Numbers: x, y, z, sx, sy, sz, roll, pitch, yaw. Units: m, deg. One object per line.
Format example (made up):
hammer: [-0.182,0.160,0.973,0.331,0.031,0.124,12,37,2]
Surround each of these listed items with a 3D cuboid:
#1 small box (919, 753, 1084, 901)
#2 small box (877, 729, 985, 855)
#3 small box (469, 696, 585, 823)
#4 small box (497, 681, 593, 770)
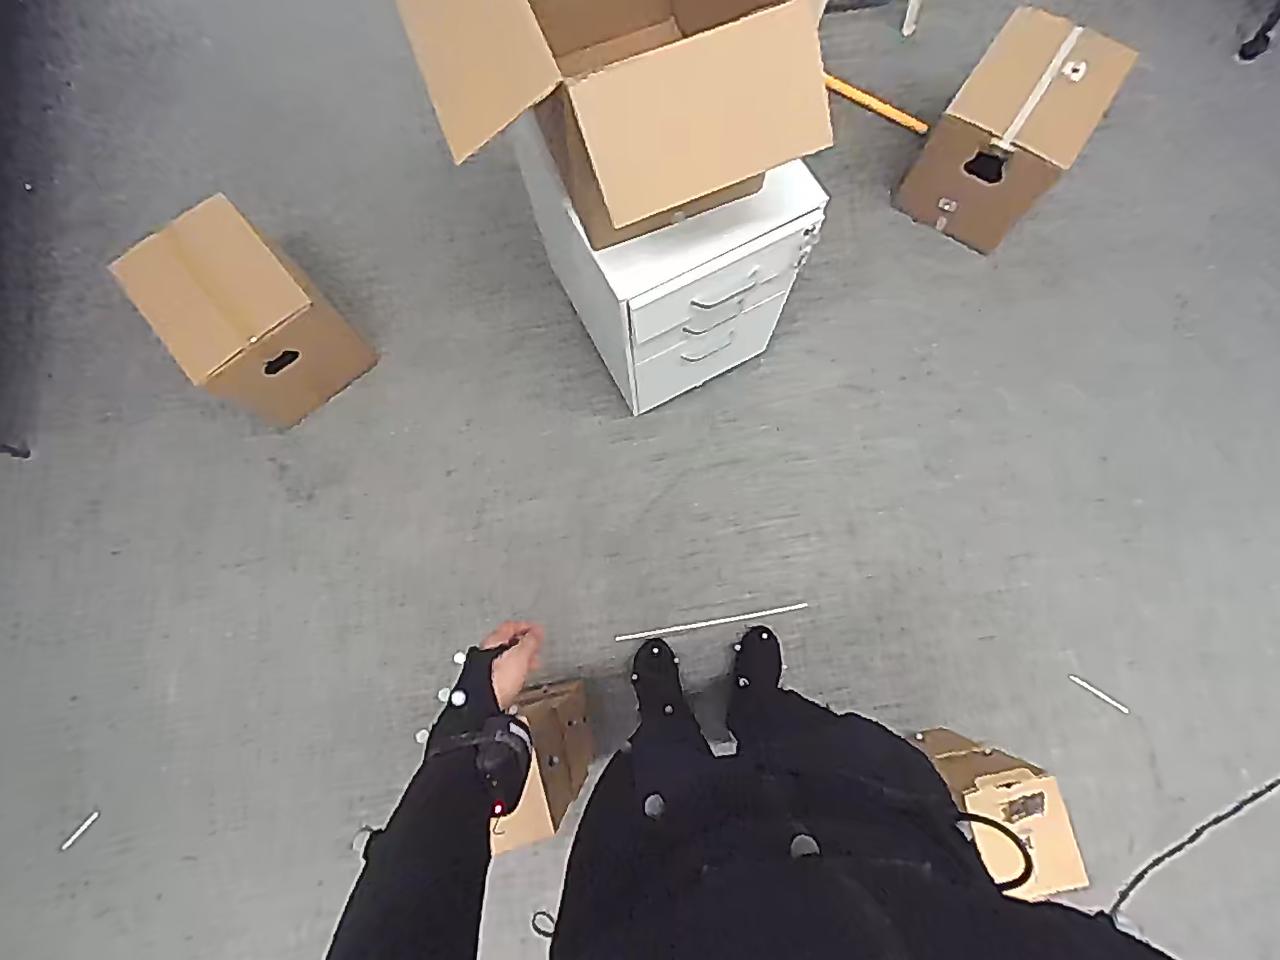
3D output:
small box: [0.648,0.622,0.997,0.168,0.176,0.179,-12,78,0]
small box: [0.638,0.657,1.158,0.168,0.176,0.179,-12,77,-1]
small box: [-0.212,0.536,1.063,0.179,0.176,0.168,-15,75,0]
small box: [-0.207,0.564,1.224,0.179,0.176,0.168,-12,76,0]
